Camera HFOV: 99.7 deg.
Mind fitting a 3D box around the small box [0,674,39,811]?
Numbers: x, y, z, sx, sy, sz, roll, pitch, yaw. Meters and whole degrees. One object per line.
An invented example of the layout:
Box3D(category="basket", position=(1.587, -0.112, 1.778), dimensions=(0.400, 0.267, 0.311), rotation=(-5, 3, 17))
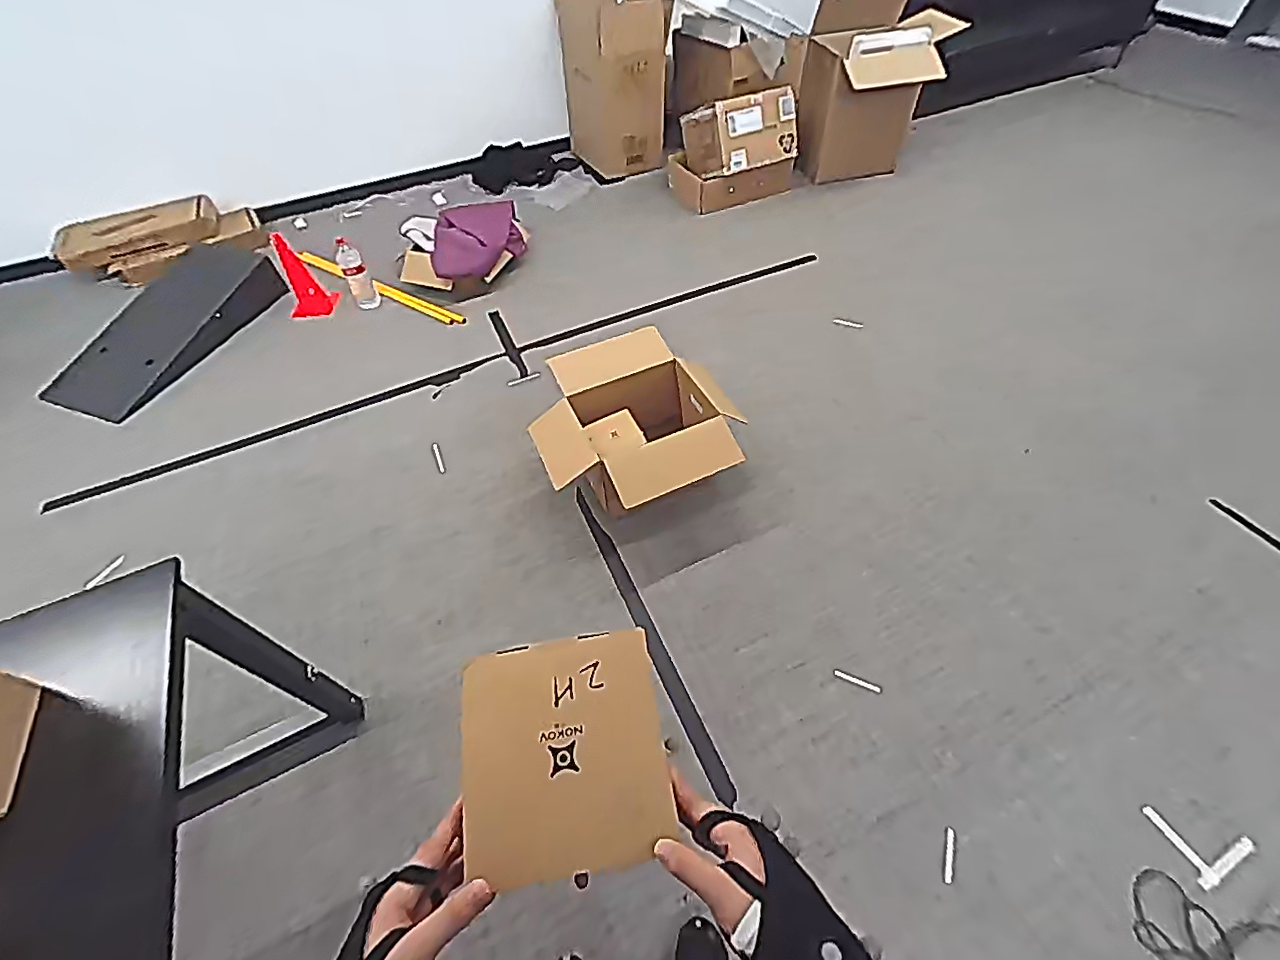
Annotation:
Box3D(category="small box", position=(-0.896, 0.331, 0.645), dimensions=(0.168, 0.176, 0.179), rotation=(-20, 55, -12))

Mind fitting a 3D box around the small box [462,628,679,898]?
Box3D(category="small box", position=(-0.061, 0.259, 0.511), dimensions=(0.168, 0.176, 0.179), rotation=(-9, 59, -5))
